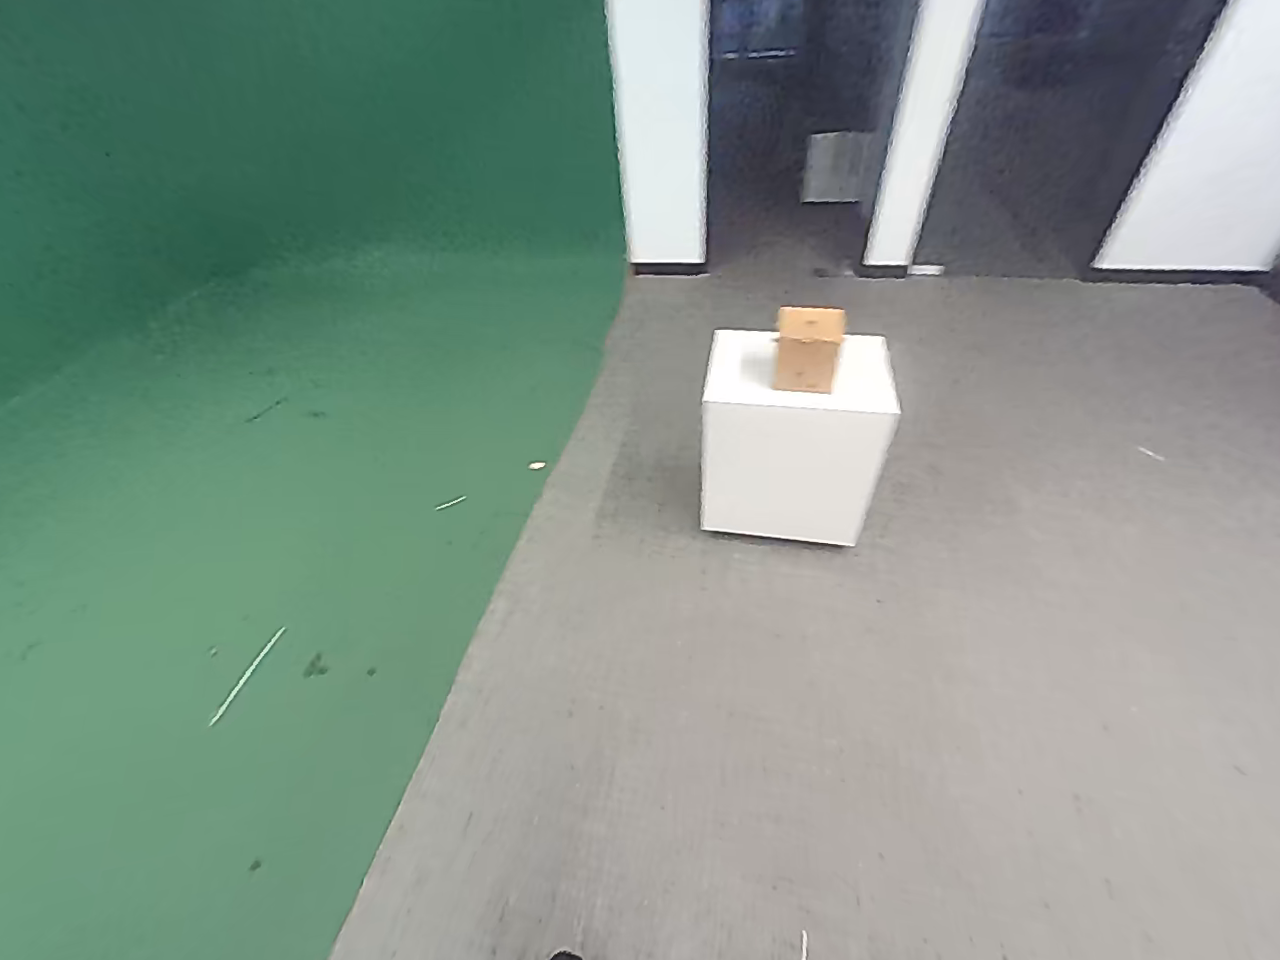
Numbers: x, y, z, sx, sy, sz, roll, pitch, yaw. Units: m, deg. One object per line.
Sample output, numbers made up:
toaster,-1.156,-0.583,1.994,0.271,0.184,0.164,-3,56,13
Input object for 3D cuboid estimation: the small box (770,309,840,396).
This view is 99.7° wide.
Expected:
small box,0.456,-0.357,1.509,0.168,0.176,0.179,6,44,12
